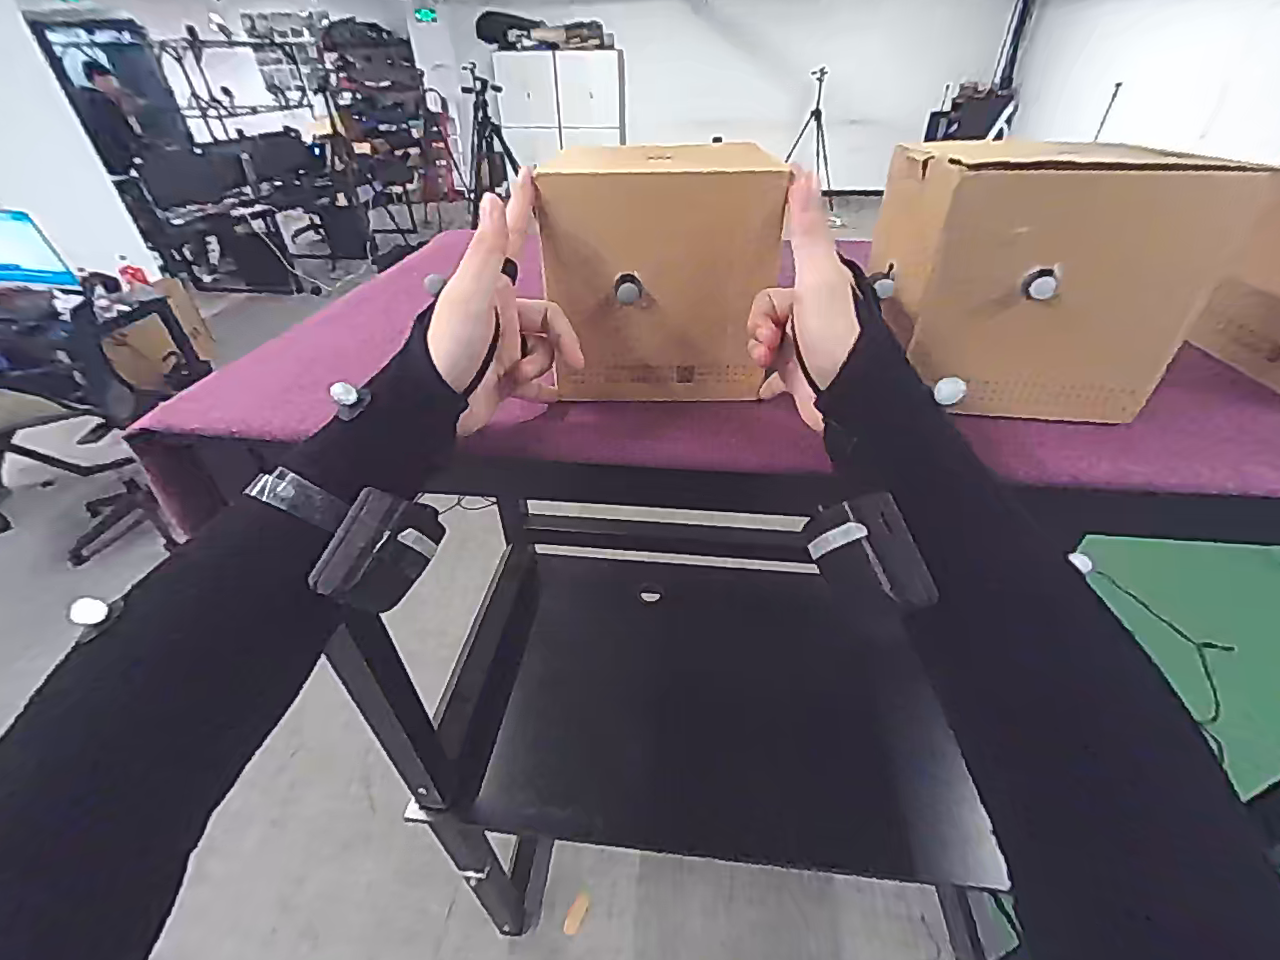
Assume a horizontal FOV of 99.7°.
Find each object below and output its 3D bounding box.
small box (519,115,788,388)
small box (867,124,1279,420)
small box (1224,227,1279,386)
[{"bbox_3d":[0.013,-0.185,0.434,0.168,0.176,0.179,2,37,2],"label":"small box"},{"bbox_3d":[0.282,-0.158,0.403,0.179,0.176,0.168,6,38,8],"label":"small box"},{"bbox_3d":[0.590,-0.137,0.381,0.179,0.176,0.168,7,38,9],"label":"small box"}]
